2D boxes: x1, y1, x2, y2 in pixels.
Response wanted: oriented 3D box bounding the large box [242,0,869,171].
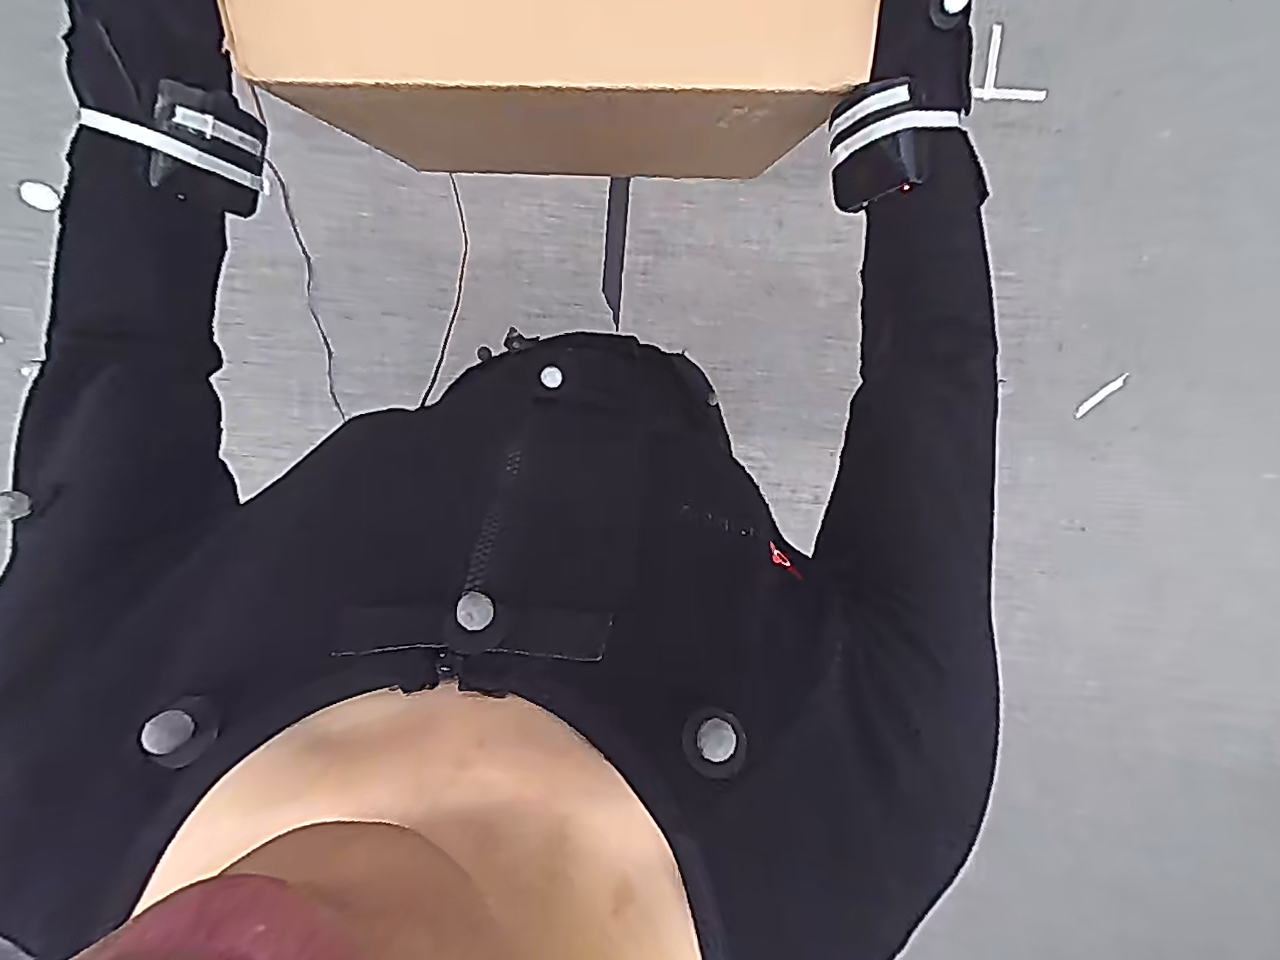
[{"bbox_3d":[-0.056,-0.460,0.445,0.408,0.320,0.320,0,110,-1],"label":"large box"}]
